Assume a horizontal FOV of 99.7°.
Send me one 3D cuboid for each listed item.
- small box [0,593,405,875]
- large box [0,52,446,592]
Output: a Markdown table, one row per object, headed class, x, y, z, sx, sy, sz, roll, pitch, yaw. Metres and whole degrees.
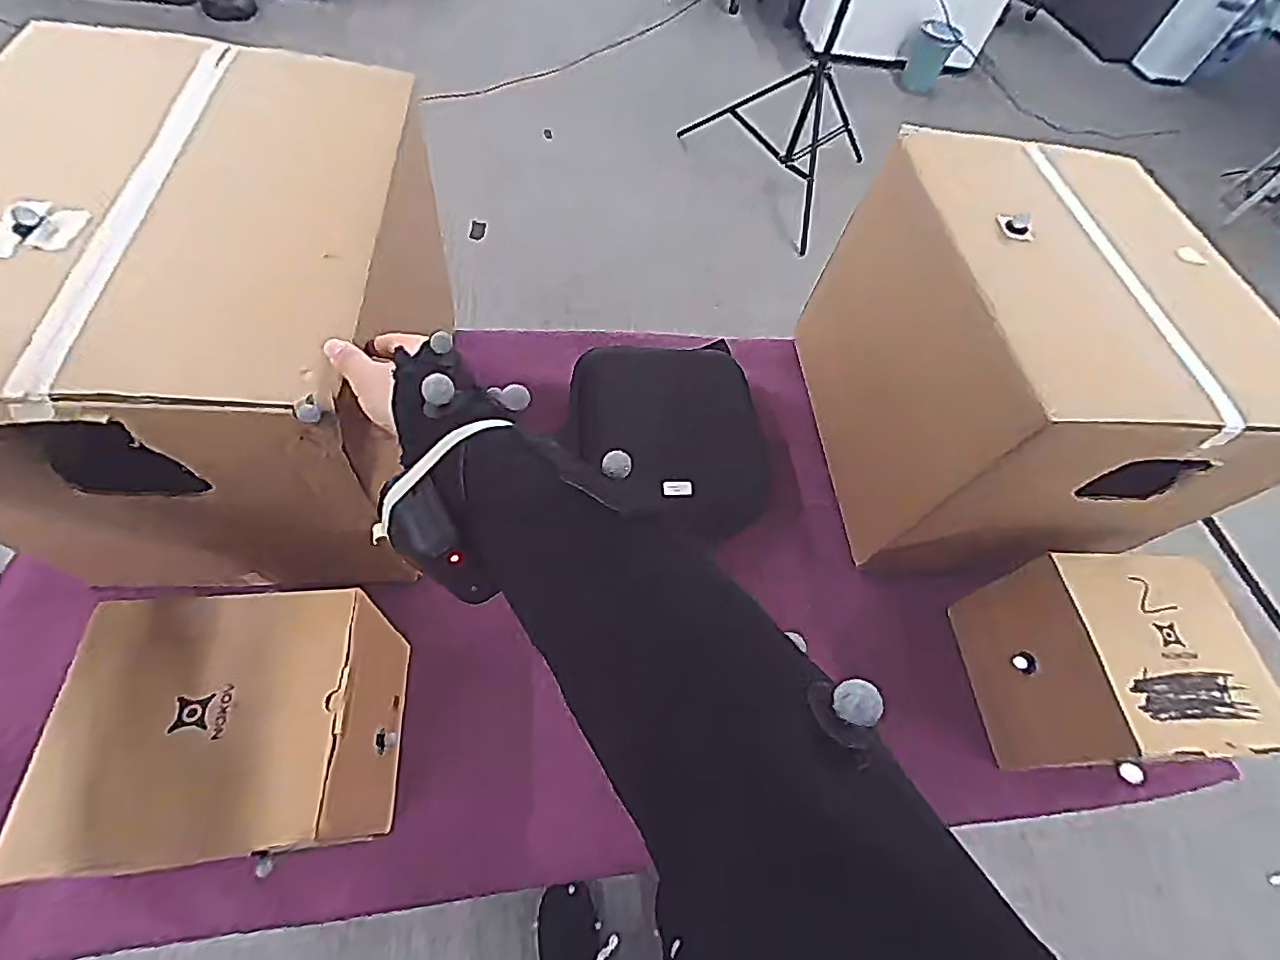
| class | x | y | z | sx | sy | sz | roll | pitch | yaw |
| --- | --- | --- | --- | --- | --- | --- | --- | --- | --- |
| small box | -0.308 | 0.203 | 0.435 | 0.179 | 0.176 | 0.168 | -2 | 58 | -11 |
| large box | -0.382 | -0.130 | 0.539 | 0.320 | 0.320 | 0.408 | -1 | 62 | -10 |
